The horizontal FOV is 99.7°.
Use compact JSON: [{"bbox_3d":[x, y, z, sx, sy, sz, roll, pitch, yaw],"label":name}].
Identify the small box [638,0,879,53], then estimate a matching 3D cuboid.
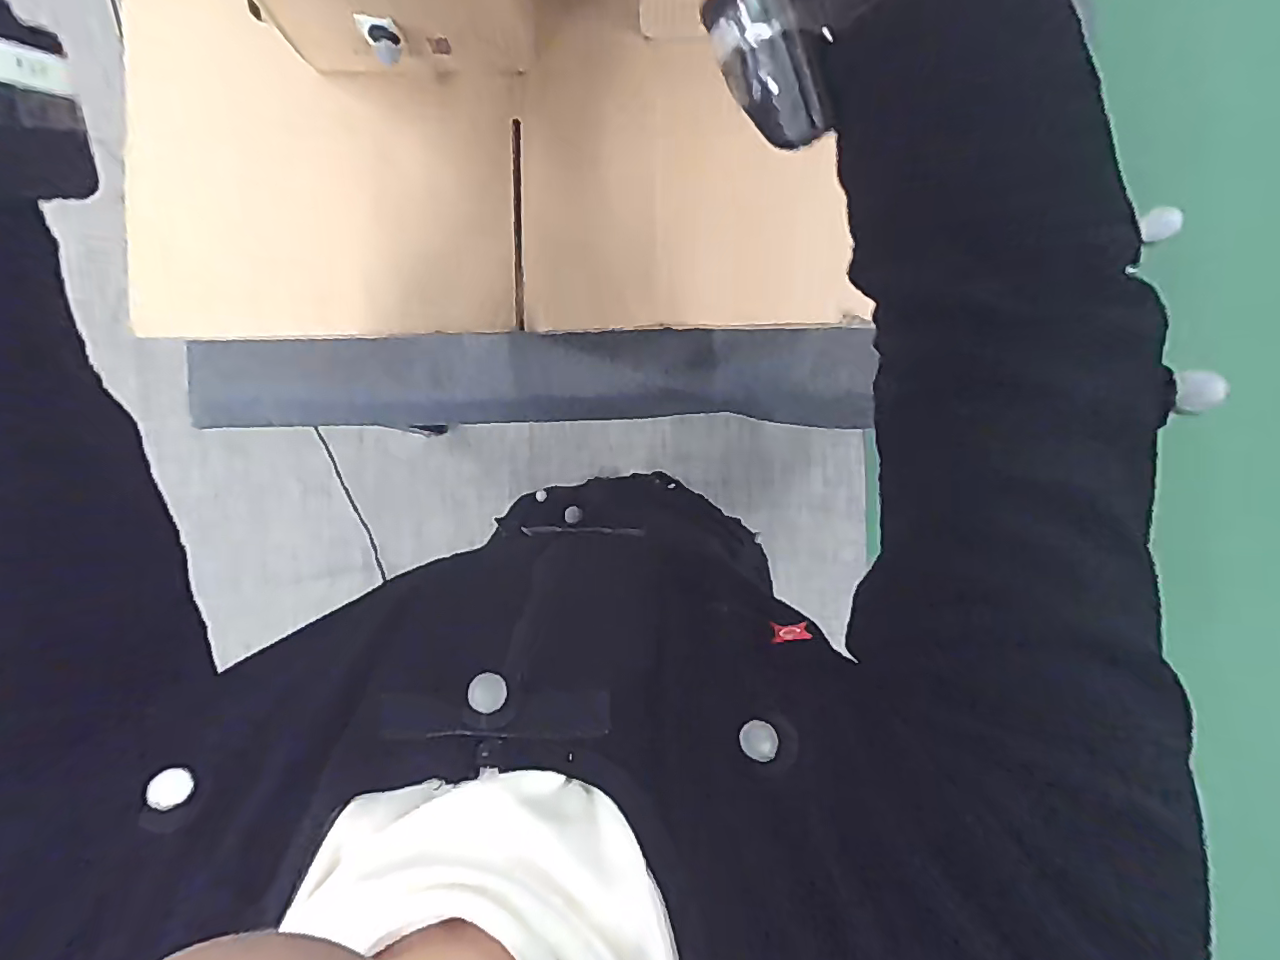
[{"bbox_3d":[0.082,-0.406,0.318,0.168,0.176,0.179,0,89,-1],"label":"small box"}]
